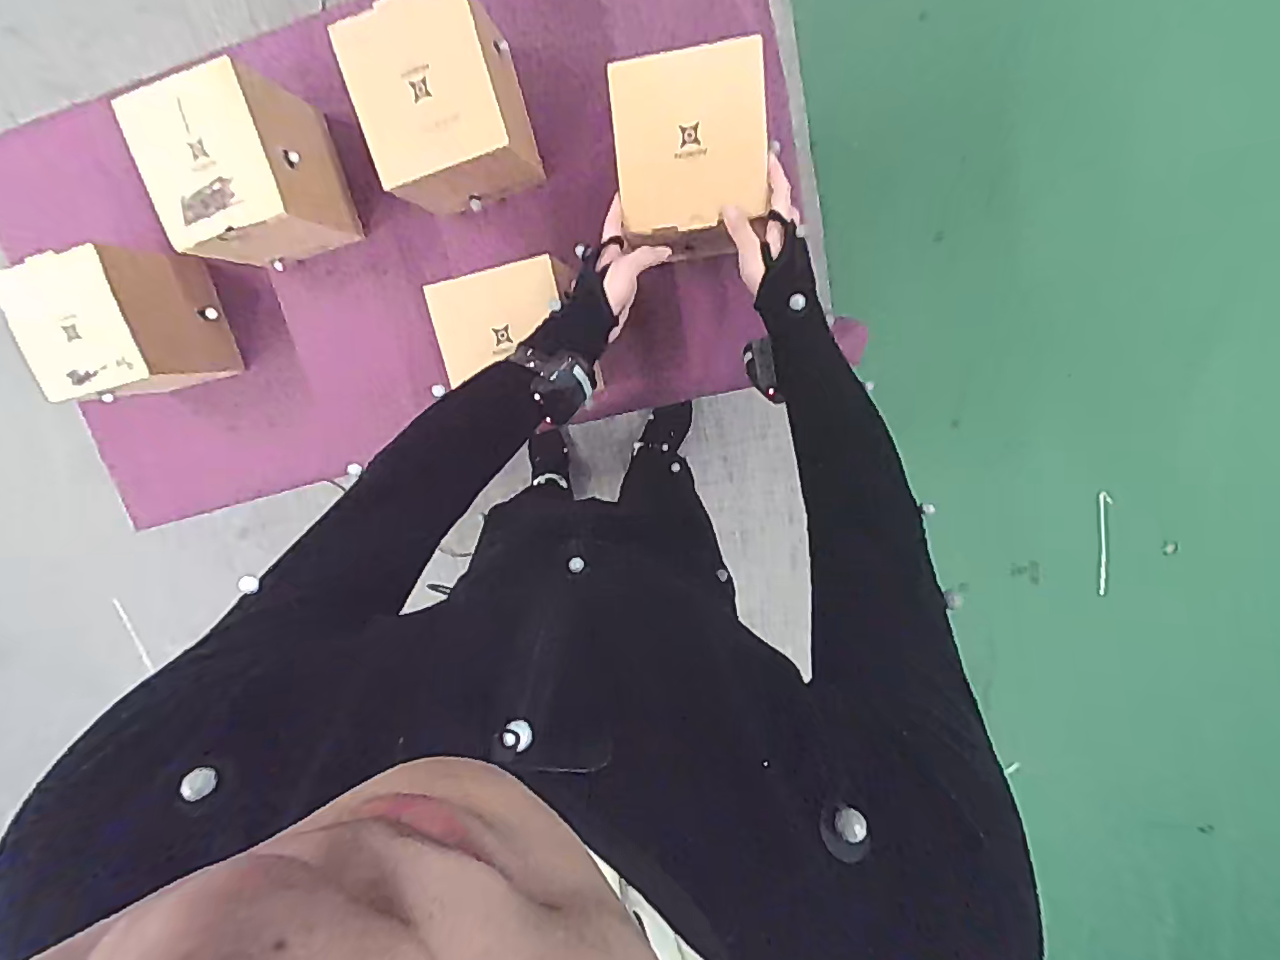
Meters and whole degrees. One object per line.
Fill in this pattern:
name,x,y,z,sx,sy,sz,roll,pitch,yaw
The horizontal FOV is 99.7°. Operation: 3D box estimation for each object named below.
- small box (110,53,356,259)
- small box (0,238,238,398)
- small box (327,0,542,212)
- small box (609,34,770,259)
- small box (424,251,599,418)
small box,-0.519,-0.407,0.720,0.168,0.176,0.179,-13,102,8
small box,-0.743,-0.226,0.783,0.168,0.176,0.179,-11,103,9
small box,-0.242,-0.467,0.683,0.168,0.176,0.179,-14,104,9
small box,0.062,-0.385,0.658,0.168,0.176,0.179,-5,102,8
small box,-0.163,-0.192,0.744,0.168,0.176,0.179,-11,102,8
